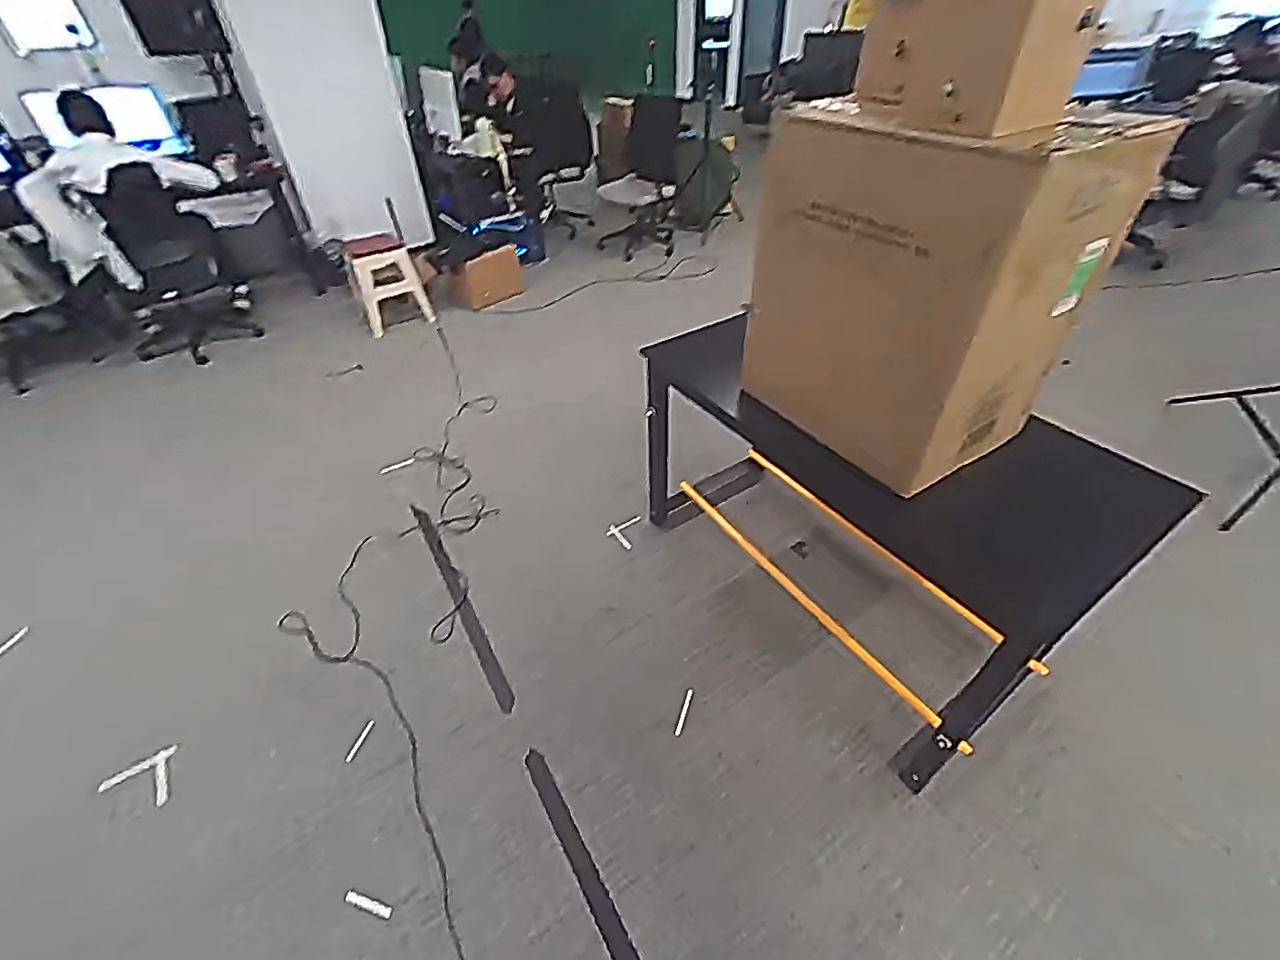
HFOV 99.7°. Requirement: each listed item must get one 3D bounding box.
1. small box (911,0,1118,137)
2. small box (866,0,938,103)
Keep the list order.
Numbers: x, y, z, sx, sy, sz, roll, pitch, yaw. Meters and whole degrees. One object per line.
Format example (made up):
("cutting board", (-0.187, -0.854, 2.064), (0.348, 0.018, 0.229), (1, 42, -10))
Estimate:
("small box", (0.536, -0.622, 0.794), (0.179, 0.176, 0.168), (-23, 45, -21))
("small box", (0.548, -0.814, 1.005), (0.179, 0.176, 0.168), (-24, 48, -23))
